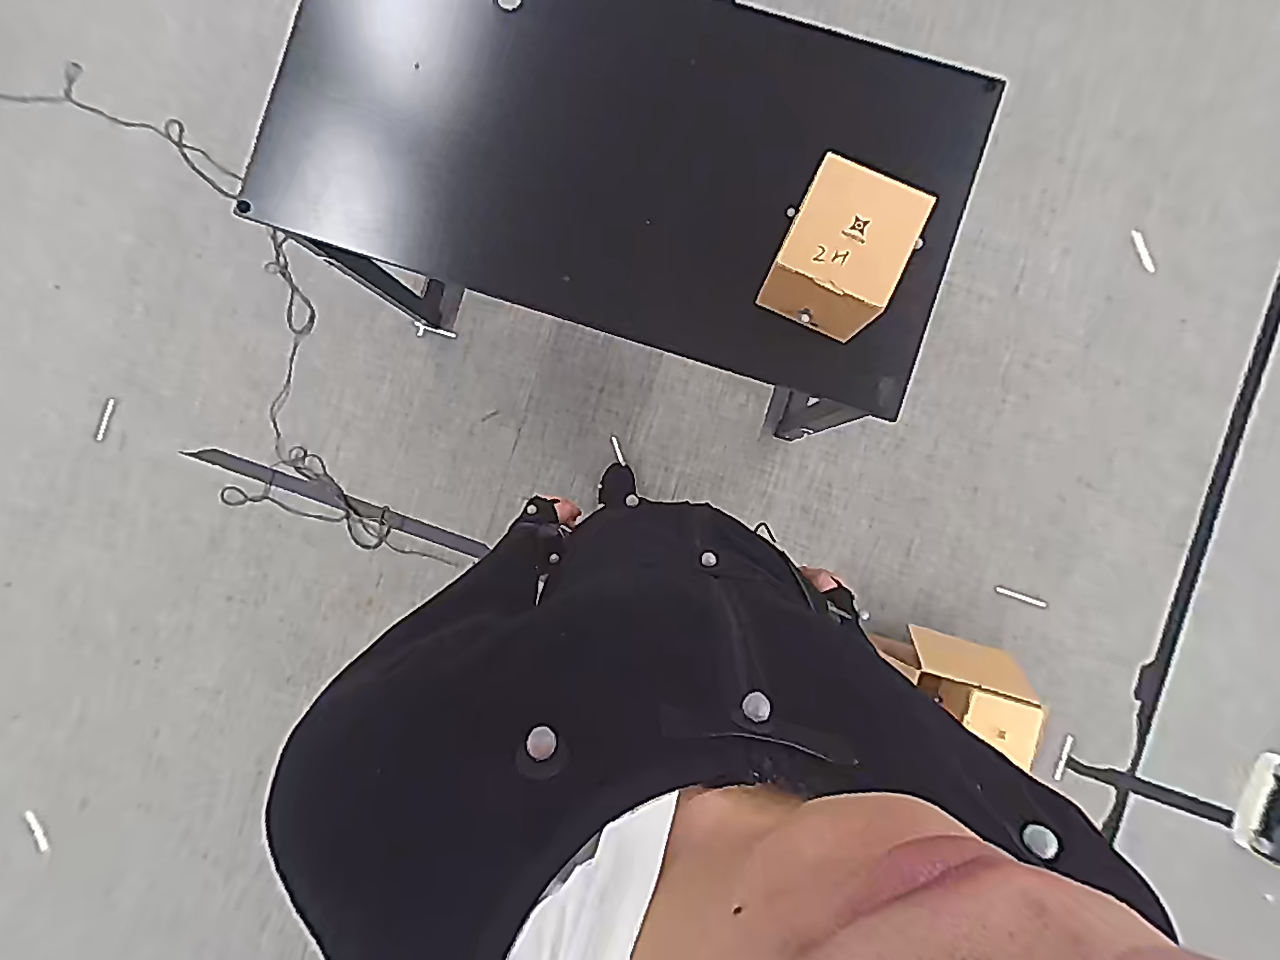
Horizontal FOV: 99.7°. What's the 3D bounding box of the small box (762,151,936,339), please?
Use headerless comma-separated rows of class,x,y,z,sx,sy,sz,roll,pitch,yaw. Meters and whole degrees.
small box,0.302,-0.343,0.825,0.168,0.176,0.179,25,90,3
